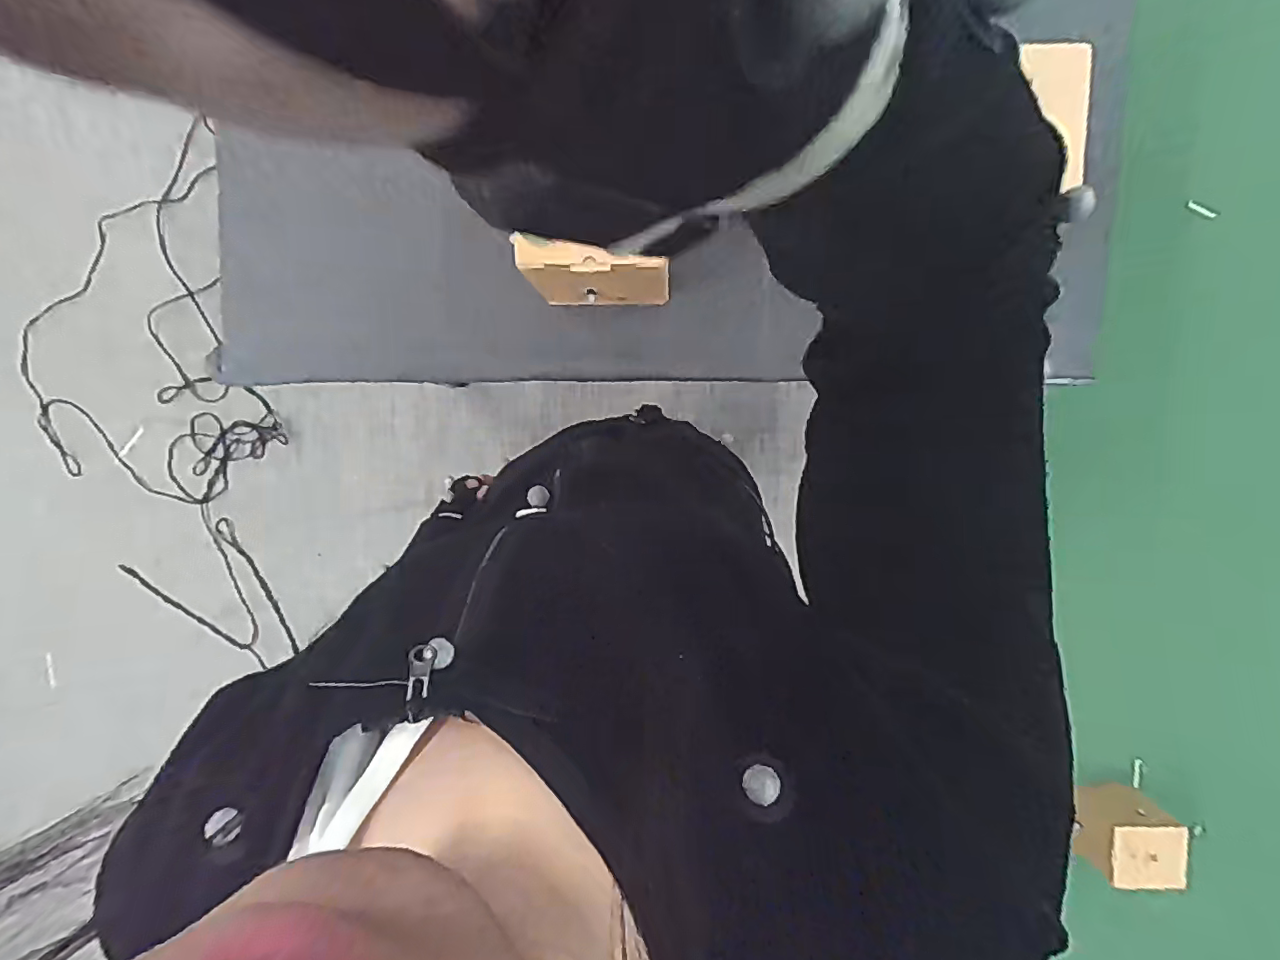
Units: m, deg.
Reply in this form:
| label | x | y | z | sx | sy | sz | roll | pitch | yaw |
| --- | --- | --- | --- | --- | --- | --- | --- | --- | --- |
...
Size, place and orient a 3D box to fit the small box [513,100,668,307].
| label | x | y | z | sx | sy | sz | roll | pitch | yaw |
| --- | --- | --- | --- | --- | --- | --- | --- | --- | --- |
| small box | -0.053 | -0.320 | 0.655 | 0.168 | 0.176 | 0.179 | 1 | 95 | 2 |

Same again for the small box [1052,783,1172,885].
| label | x | y | z | sx | sy | sz | roll | pitch | yaw |
| --- | --- | --- | --- | --- | --- | --- | --- | --- | --- |
| small box | 1.248 | 0.936 | 1.440 | 0.179 | 0.176 | 0.168 | -2 | 94 | 3 |
